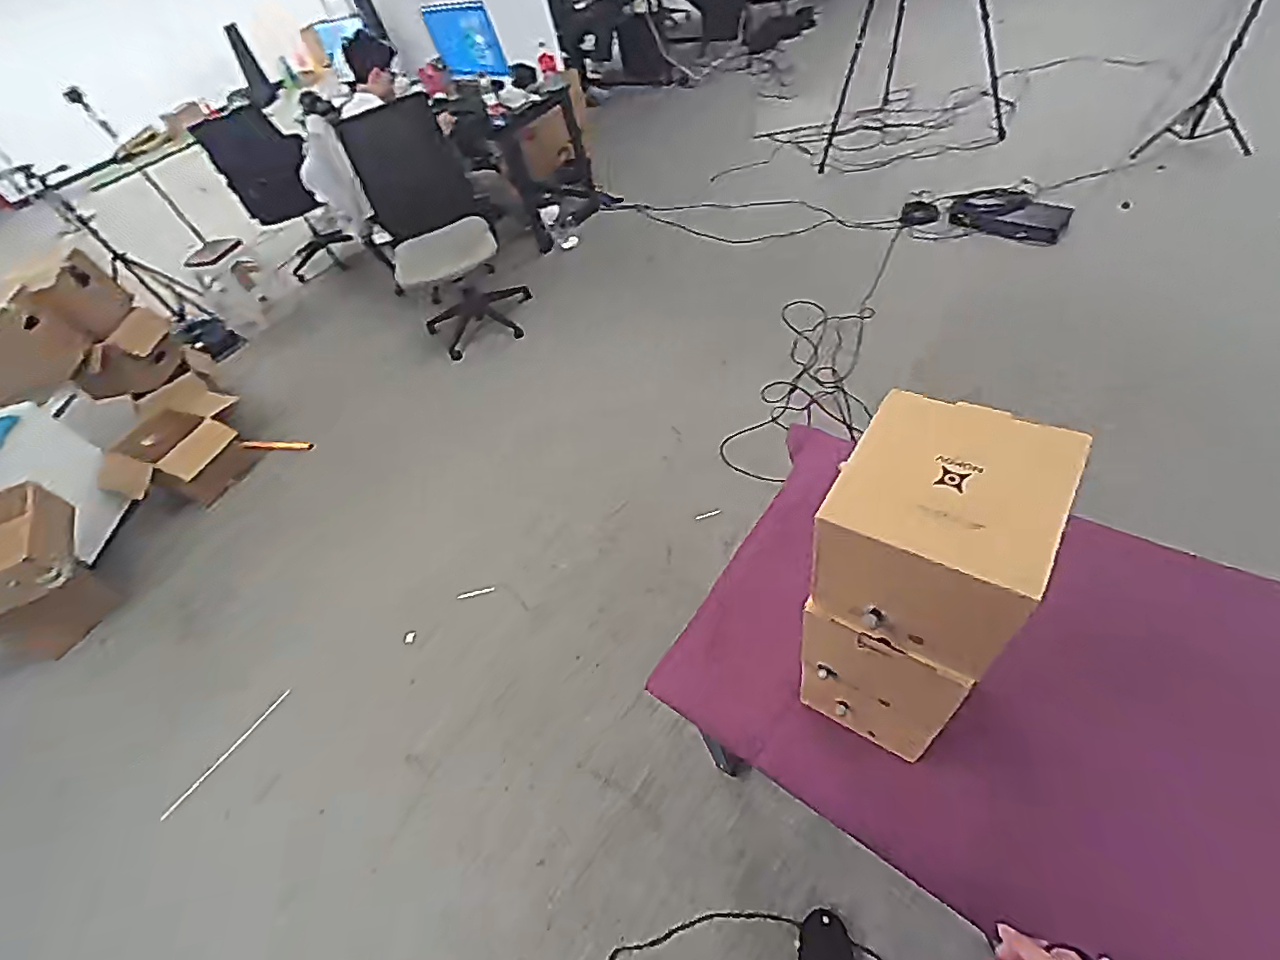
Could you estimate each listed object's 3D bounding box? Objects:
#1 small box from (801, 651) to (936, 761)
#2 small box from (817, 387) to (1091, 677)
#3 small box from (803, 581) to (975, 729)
[{"bbox_3d":[0.339,0.255,0.751,0.168,0.176,0.179,22,59,30],"label":"small box"},{"bbox_3d":[0.275,0.047,0.507,0.168,0.176,0.179,23,61,31],"label":"small box"},{"bbox_3d":[0.303,0.154,0.627,0.168,0.176,0.179,23,59,30],"label":"small box"}]
